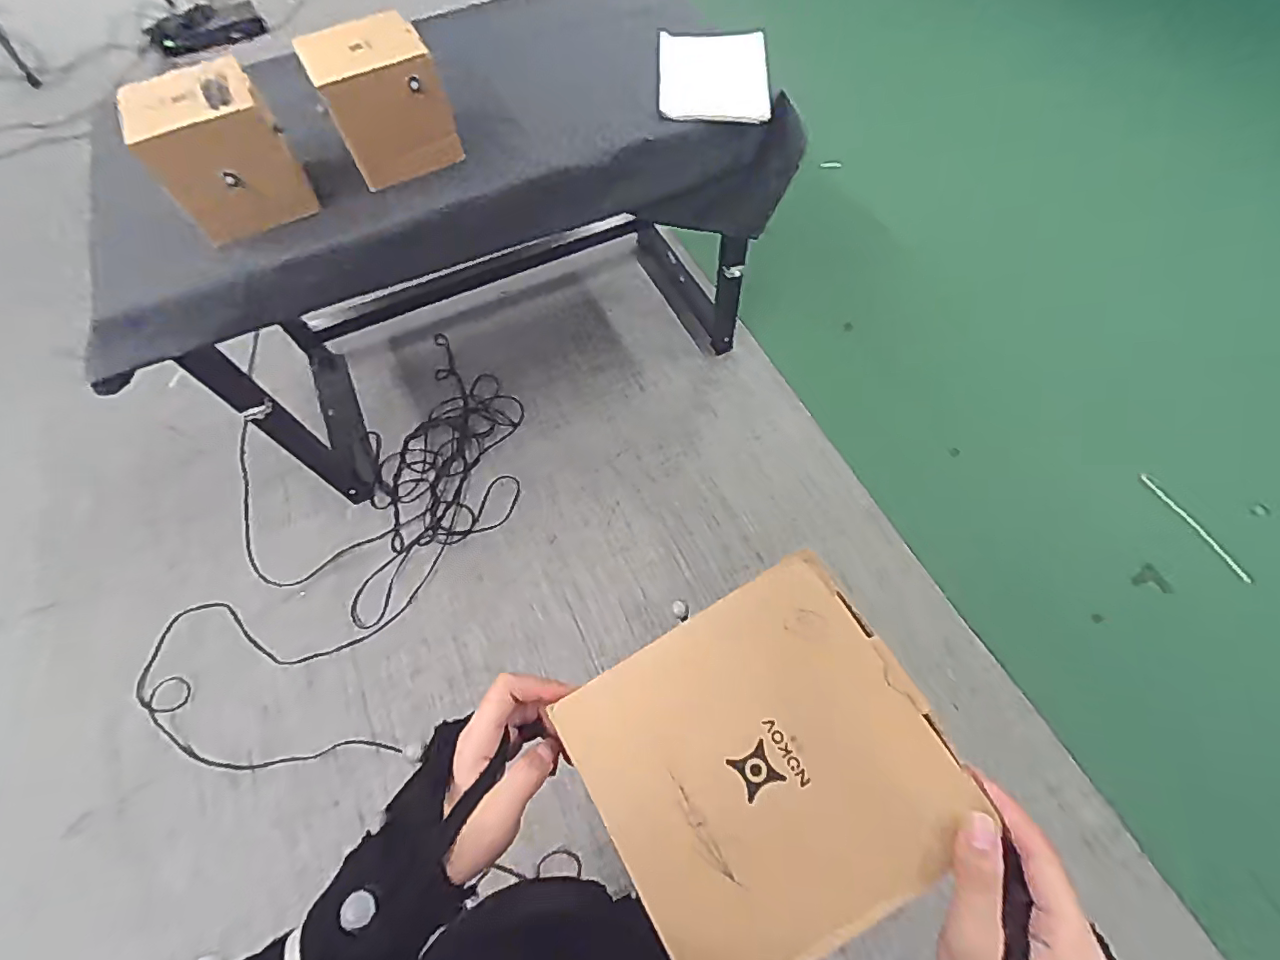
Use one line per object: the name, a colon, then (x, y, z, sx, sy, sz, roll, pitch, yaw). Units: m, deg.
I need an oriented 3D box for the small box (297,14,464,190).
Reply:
small box: (-0.423, -0.622, 0.902, 0.179, 0.176, 0.168, -28, 65, -11)
